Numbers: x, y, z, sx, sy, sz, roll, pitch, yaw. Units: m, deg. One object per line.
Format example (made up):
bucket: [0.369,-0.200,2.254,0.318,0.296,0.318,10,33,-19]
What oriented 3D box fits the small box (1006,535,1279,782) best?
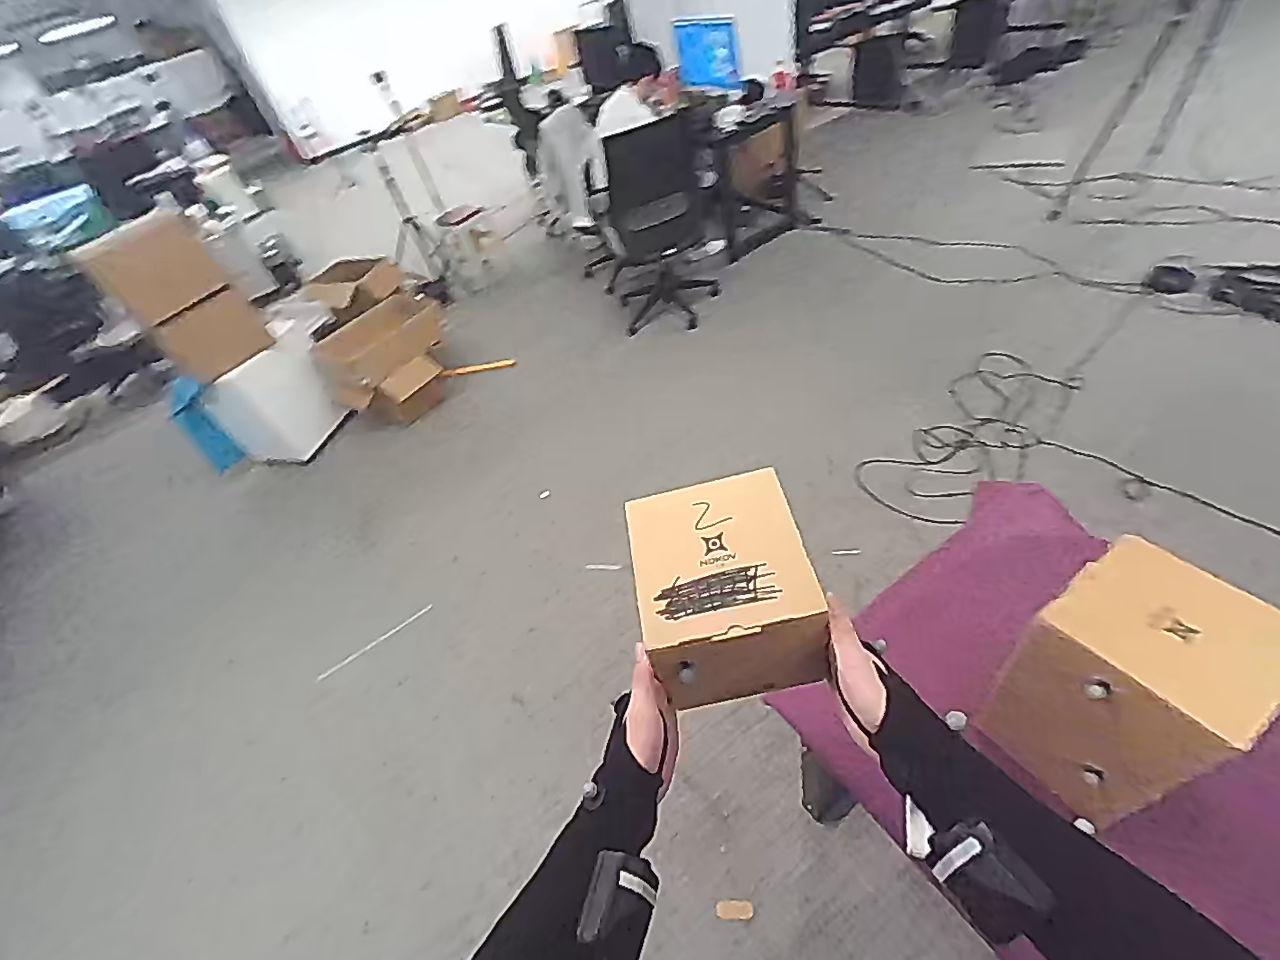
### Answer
small box: [0.557,0.203,0.600,0.168,0.176,0.179,-33,46,-14]

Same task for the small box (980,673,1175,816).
small box: [0.596,0.310,0.715,0.168,0.176,0.179,-32,47,-14]
